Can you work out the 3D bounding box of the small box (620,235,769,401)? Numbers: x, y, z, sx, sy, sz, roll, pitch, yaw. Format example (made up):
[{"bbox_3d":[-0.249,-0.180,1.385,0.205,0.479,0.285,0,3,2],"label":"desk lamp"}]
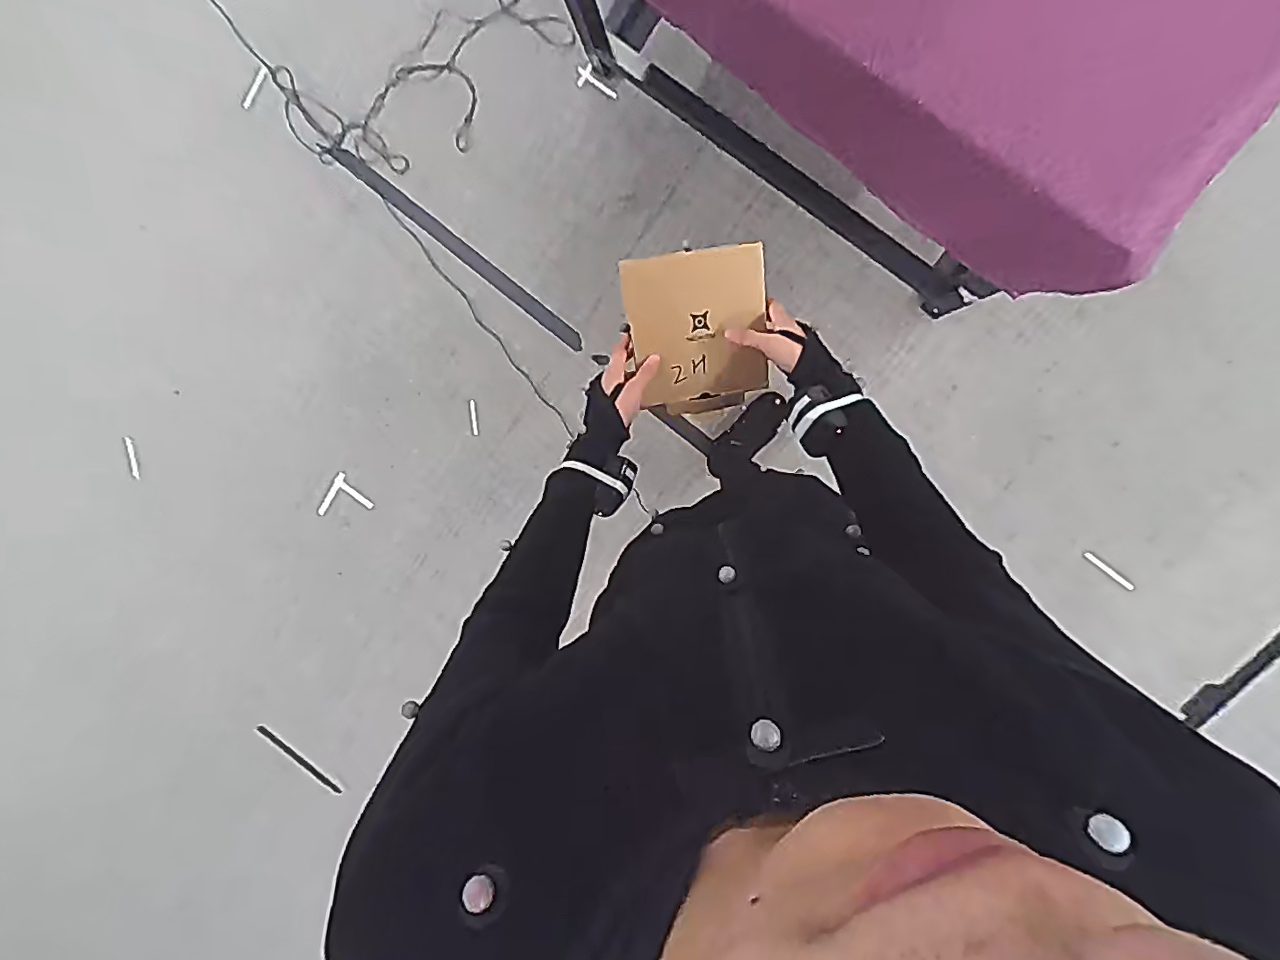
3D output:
[{"bbox_3d":[0.066,-0.218,0.720,0.168,0.176,0.179,-8,113,0],"label":"small box"}]
